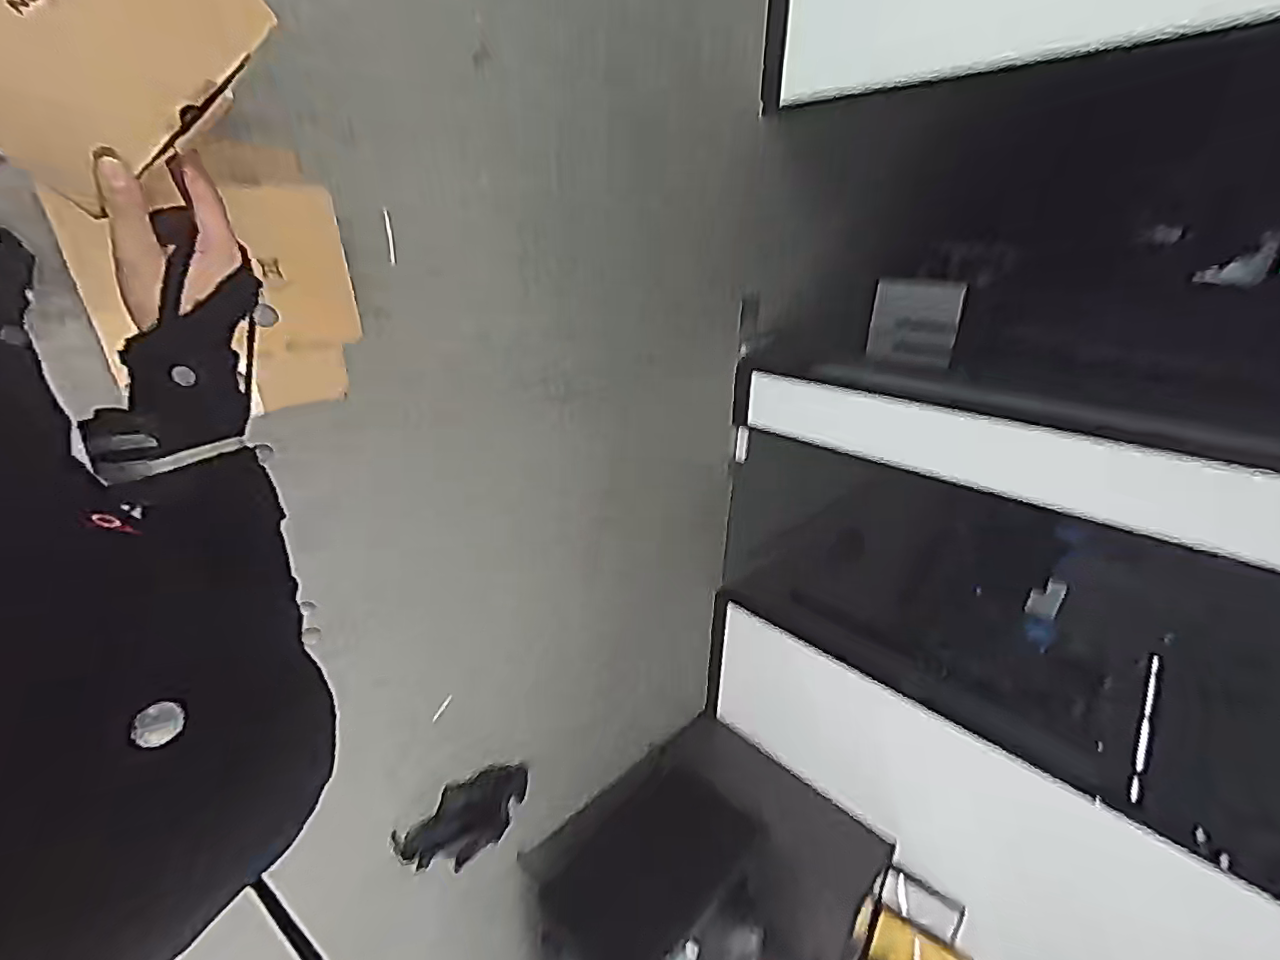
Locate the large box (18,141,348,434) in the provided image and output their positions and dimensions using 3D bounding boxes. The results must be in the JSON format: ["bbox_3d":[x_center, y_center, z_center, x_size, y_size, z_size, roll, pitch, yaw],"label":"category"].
[{"bbox_3d":[-0.763,-0.339,0.929,0.320,0.320,0.408,-23,124,-39],"label":"large box"}]

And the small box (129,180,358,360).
[{"bbox_3d":[-0.474,-0.256,0.653,0.168,0.176,0.179,-24,125,-40],"label":"small box"}]

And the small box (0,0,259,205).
[{"bbox_3d":[-0.365,-0.290,0.294,0.168,0.176,0.179,-55,144,-5],"label":"small box"}]
